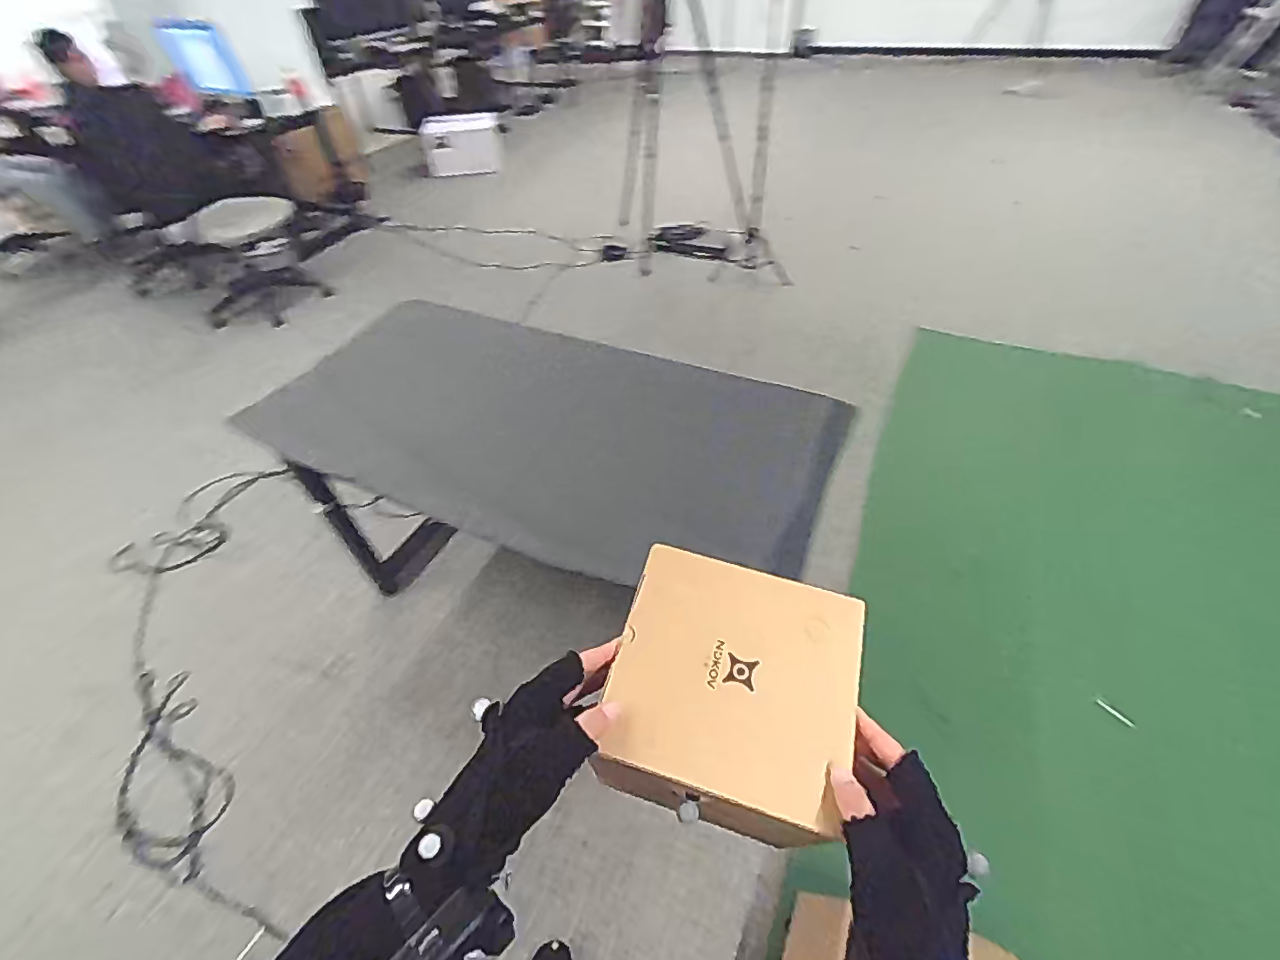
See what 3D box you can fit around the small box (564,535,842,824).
[{"bbox_3d":[0.054,0.173,0.457,0.179,0.176,0.168,12,56,10],"label":"small box"}]
